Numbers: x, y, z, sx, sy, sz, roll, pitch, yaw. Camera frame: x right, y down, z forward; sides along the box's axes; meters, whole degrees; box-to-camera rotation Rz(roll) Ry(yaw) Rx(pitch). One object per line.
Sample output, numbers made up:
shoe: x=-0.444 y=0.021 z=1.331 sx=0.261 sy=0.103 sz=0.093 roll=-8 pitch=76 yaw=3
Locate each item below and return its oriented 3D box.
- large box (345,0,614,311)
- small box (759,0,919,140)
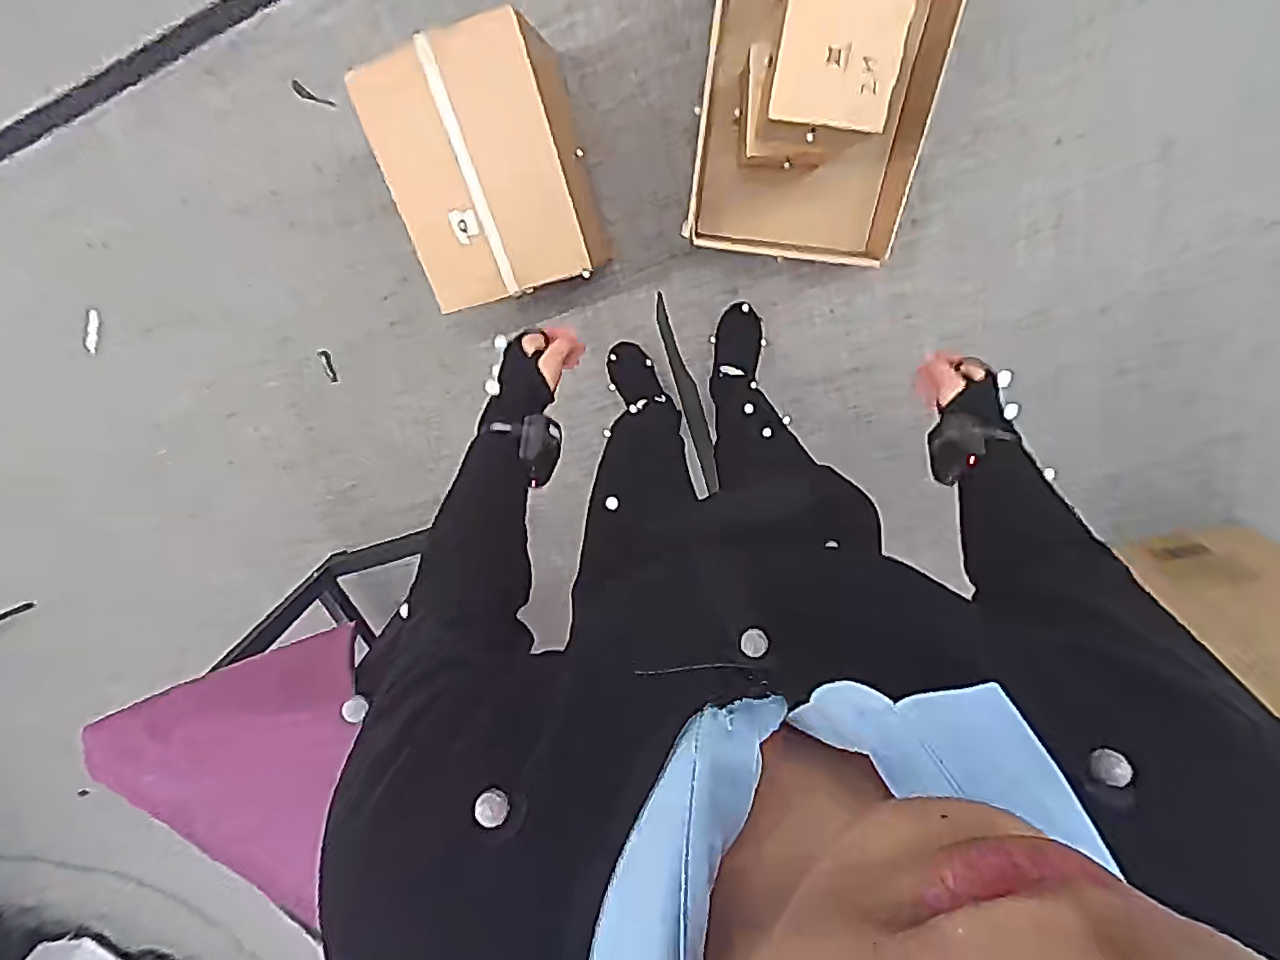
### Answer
large box: x=-0.269 y=-0.600 z=1.064 sx=0.320 sy=0.320 sz=0.408 roll=-12 pitch=116 yaw=13
small box: x=0.289 y=-0.636 z=0.830 sx=0.179 sy=0.176 sz=0.168 roll=8 pitch=116 yaw=0
